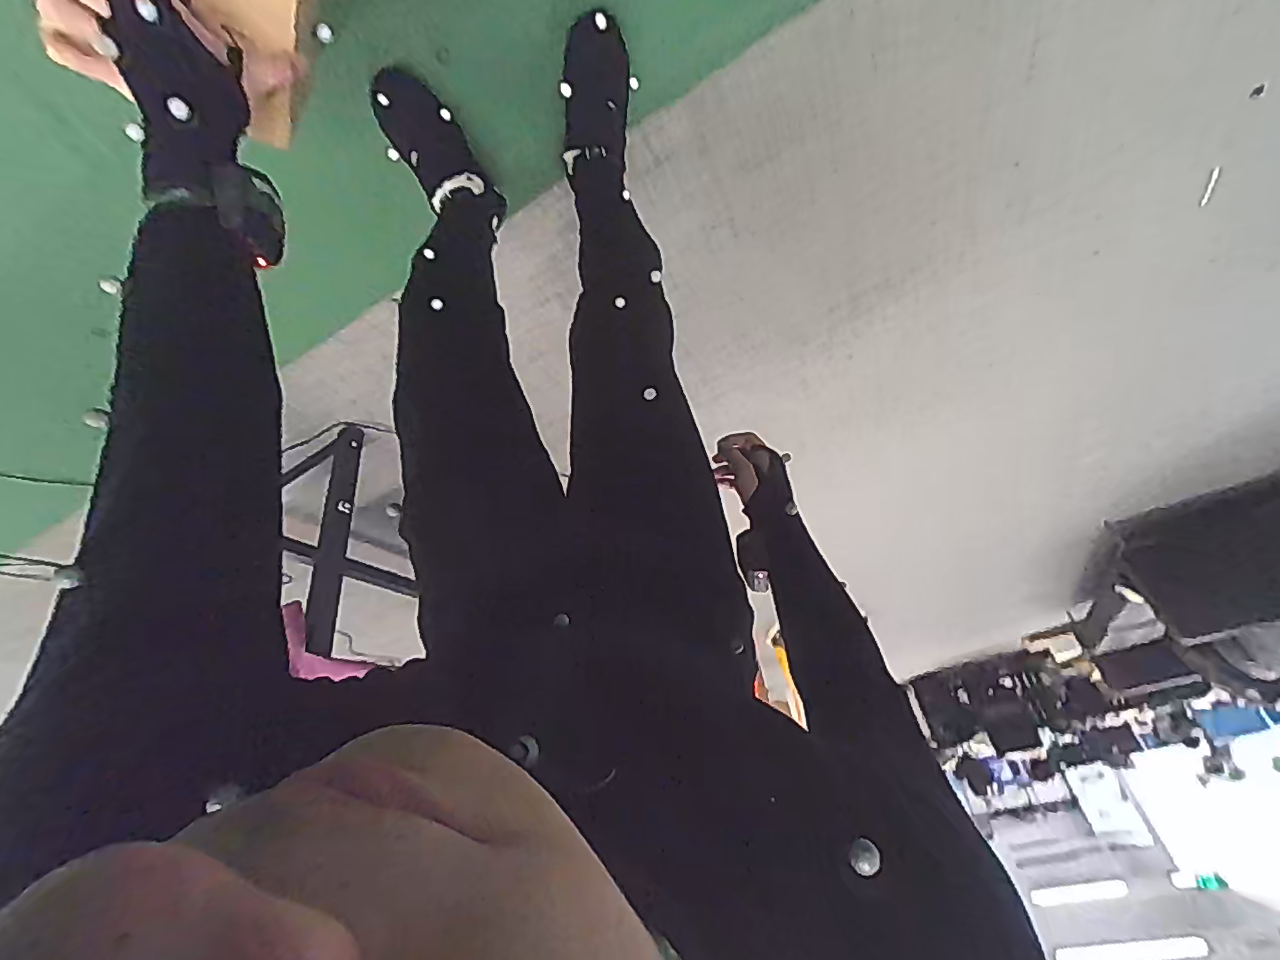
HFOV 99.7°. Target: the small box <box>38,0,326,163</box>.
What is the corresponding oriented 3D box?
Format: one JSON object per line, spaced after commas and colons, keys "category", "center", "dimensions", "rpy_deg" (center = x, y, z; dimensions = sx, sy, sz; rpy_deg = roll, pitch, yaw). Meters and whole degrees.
{"category": "small box", "center": [-0.406, -0.444, 0.501], "dimensions": [0.179, 0.176, 0.168], "rpy_deg": [10, 138, -30]}
